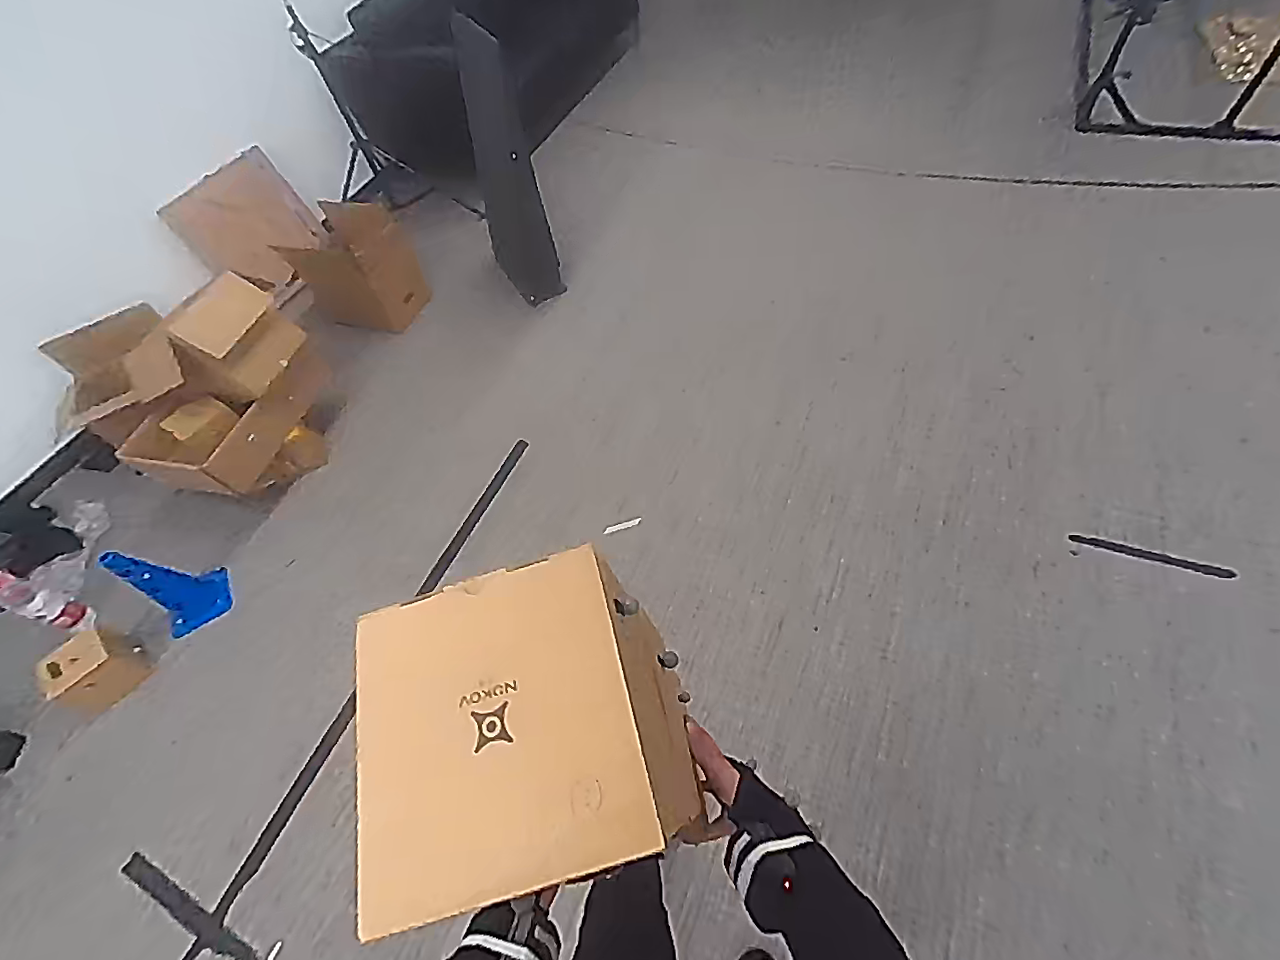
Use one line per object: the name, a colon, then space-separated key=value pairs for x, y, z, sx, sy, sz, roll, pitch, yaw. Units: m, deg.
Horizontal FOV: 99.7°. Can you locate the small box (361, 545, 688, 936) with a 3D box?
small box: x=-0.070 y=0.174 z=0.383 sx=0.168 sy=0.176 sz=0.179 roll=-17 pitch=60 yaw=0

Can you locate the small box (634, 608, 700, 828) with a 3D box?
small box: x=-0.043 y=0.247 z=0.526 sx=0.168 sy=0.176 sz=0.179 roll=-15 pitch=61 yaw=2
